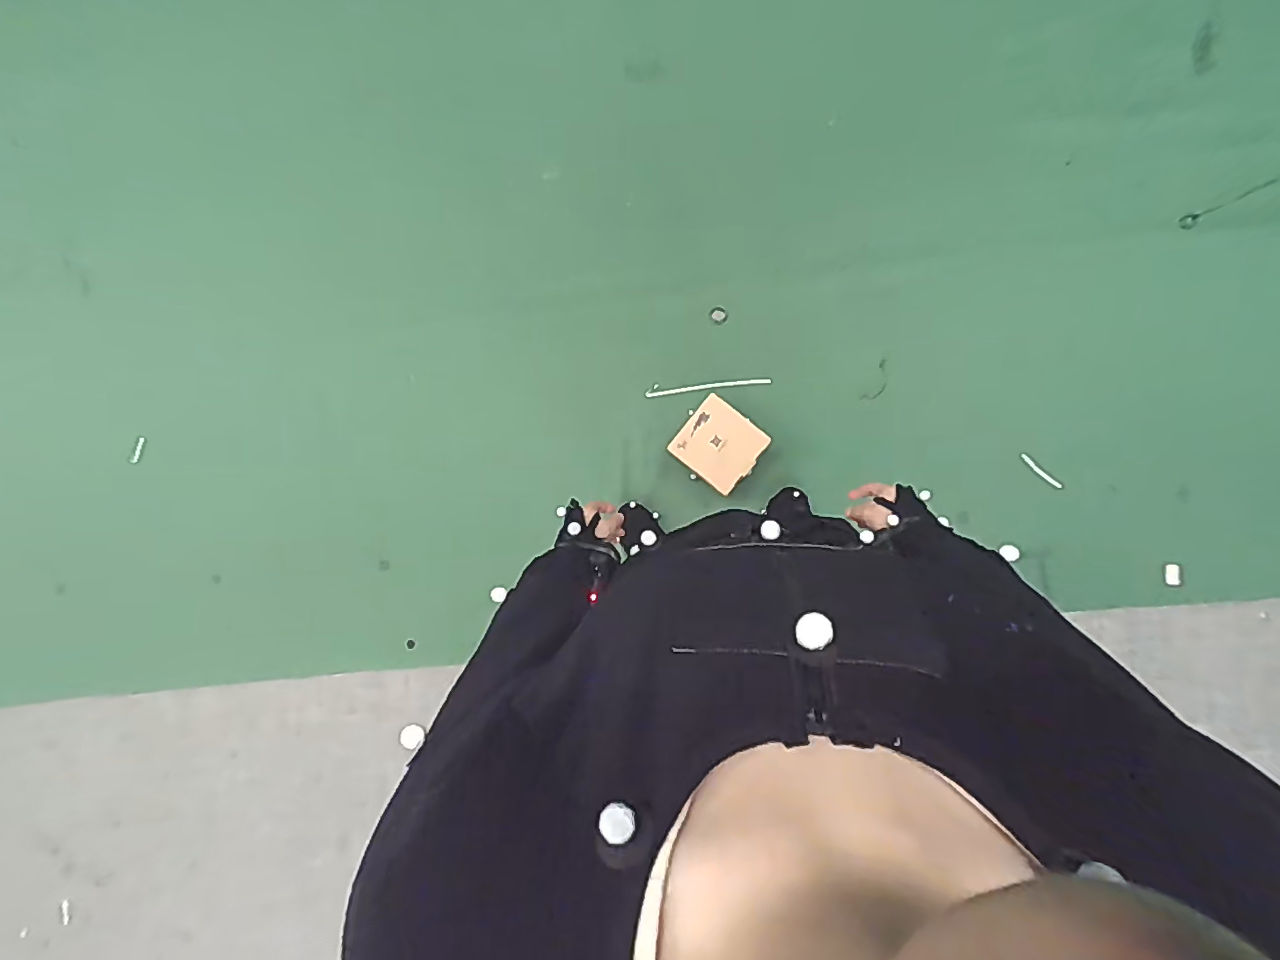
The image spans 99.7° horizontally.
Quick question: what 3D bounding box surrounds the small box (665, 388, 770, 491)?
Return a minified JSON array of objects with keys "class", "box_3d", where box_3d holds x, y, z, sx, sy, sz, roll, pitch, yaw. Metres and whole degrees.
[{"class":"small box","box_3d":[0.179,-0.094,1.281,0.179,0.176,0.168,40,93,4]}]
